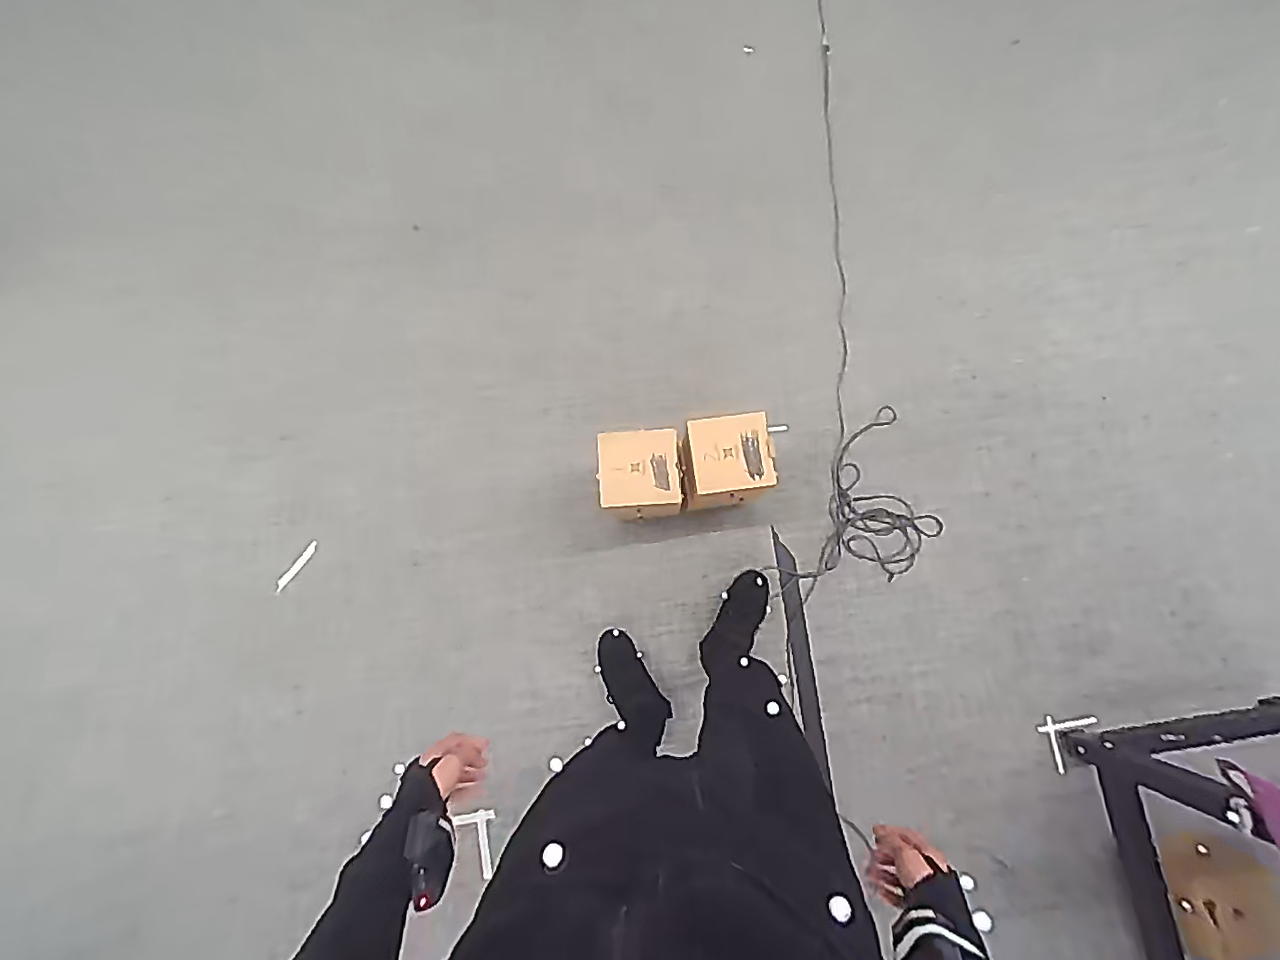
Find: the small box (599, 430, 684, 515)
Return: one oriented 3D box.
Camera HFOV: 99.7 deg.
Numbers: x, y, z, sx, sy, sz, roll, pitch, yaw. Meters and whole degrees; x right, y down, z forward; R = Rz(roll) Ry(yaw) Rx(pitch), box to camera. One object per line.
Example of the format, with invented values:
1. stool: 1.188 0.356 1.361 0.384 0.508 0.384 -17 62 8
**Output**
1. small box: 0.004 -0.012 1.230 0.179 0.176 0.168 -4 81 3
